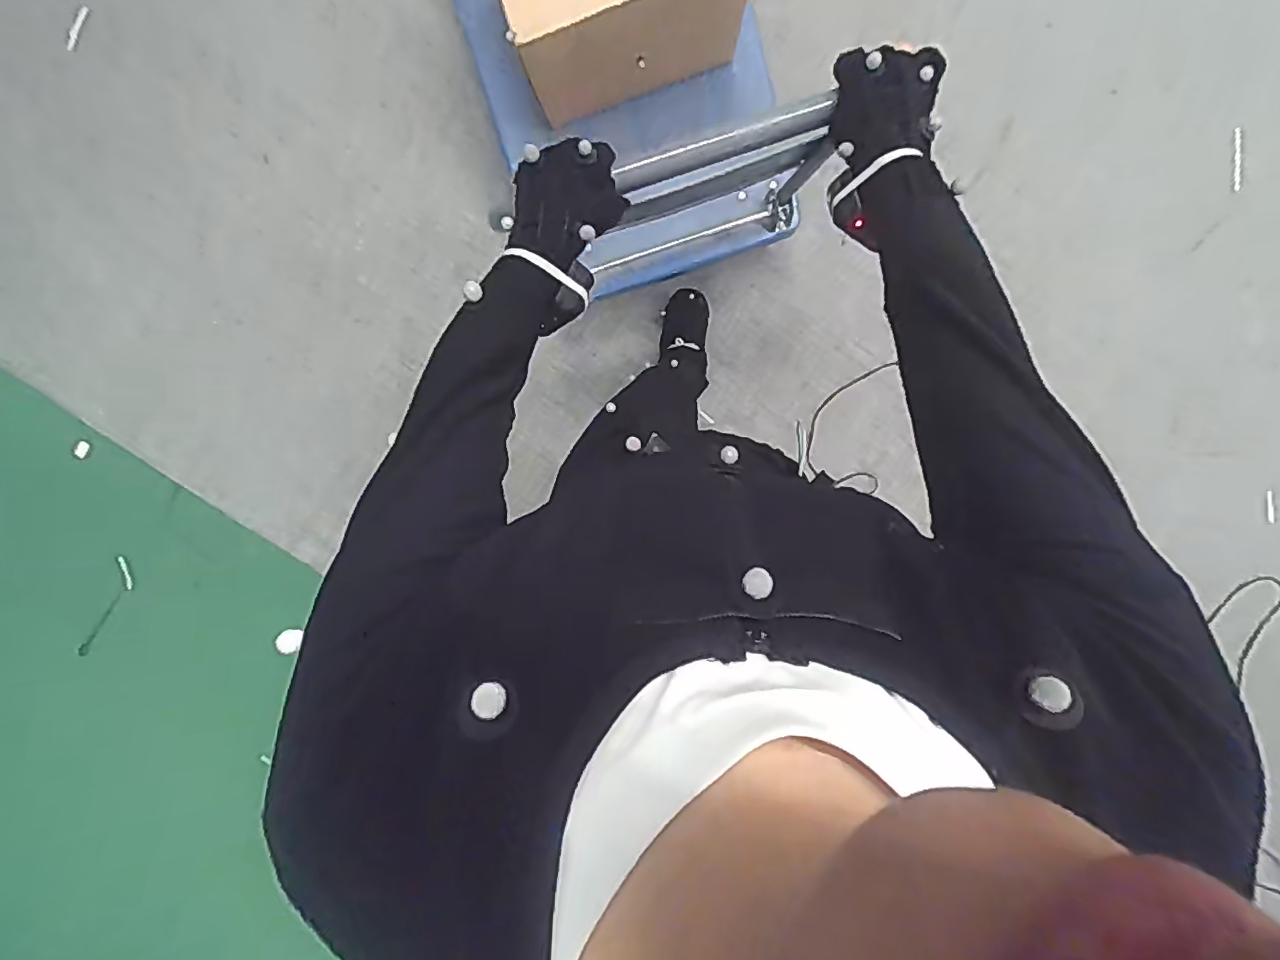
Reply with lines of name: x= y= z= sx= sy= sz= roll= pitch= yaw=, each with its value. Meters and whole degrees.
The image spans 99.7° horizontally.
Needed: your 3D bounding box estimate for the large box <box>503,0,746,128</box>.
large box: x=-0.047 y=-0.922 z=0.968 sx=0.408 sy=0.320 sz=0.320 roll=-19 pitch=100 yaw=6
